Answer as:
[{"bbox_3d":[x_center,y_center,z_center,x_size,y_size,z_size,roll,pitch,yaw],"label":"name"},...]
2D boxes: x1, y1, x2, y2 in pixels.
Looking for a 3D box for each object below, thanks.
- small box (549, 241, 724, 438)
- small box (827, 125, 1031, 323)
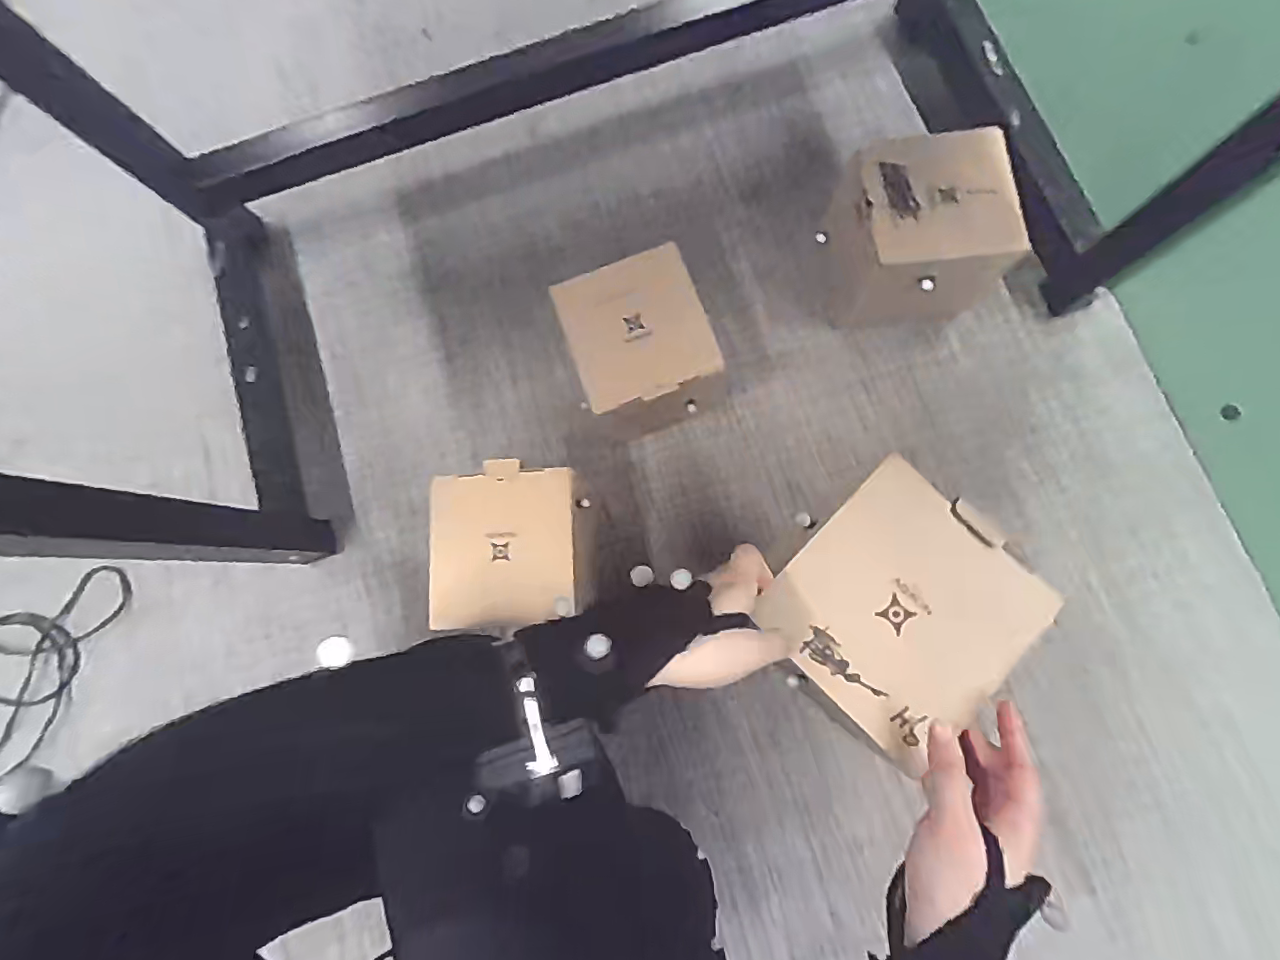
[{"bbox_3d":[0.000,-0.167,0.710,0.168,0.176,0.179,-21,78,0],"label":"small box"},{"bbox_3d":[0.357,-0.320,0.709,0.179,0.176,0.168,-5,80,2],"label":"small box"}]
